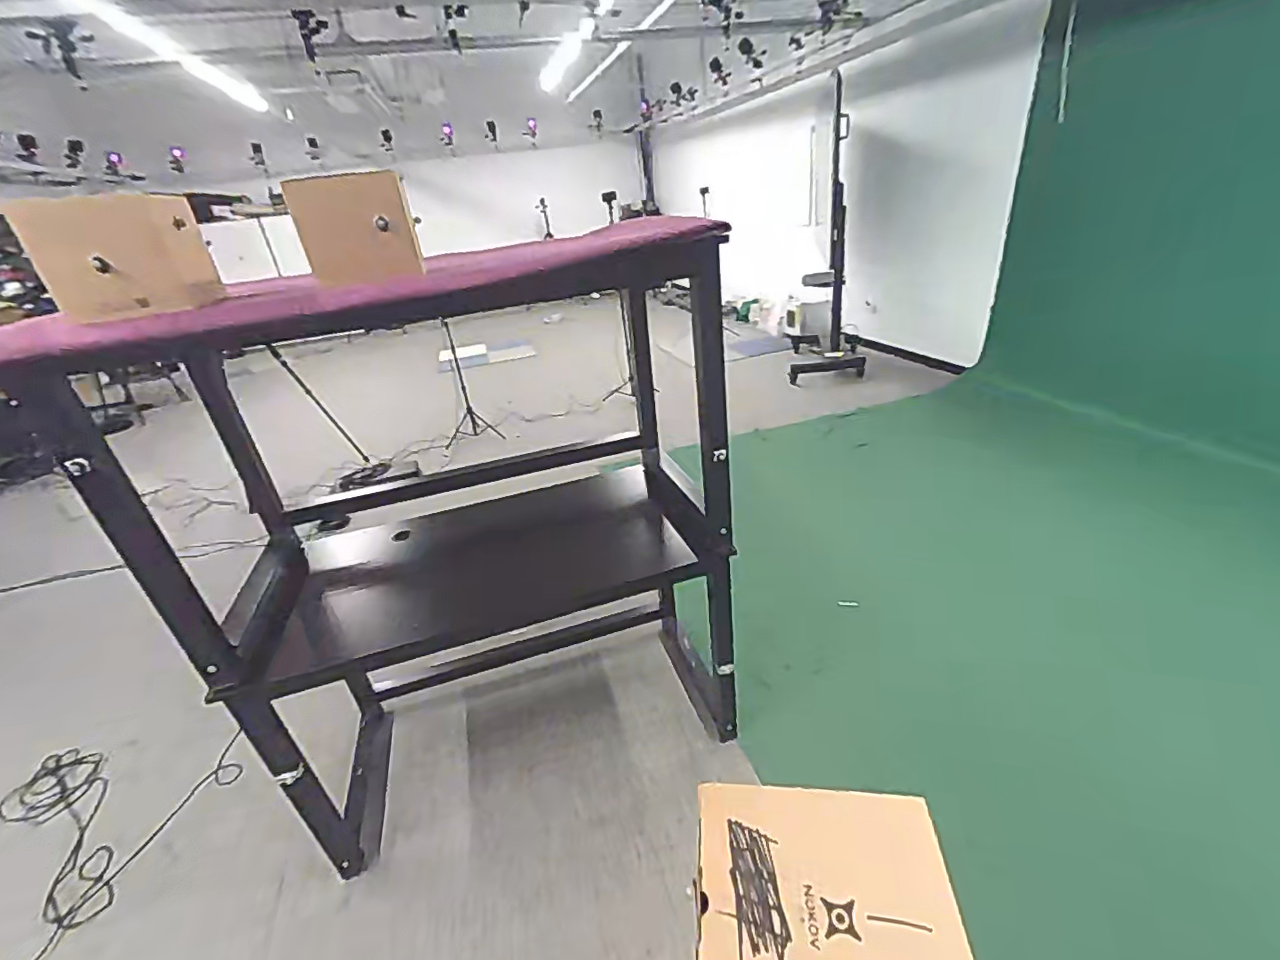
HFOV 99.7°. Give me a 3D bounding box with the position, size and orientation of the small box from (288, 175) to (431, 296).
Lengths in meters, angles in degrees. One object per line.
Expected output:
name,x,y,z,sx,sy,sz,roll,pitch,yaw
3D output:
small box,-0.487,-0.439,0.973,0.179,0.176,0.168,-15,27,-13

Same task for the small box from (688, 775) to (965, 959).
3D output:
small box,0.128,0.356,0.415,0.179,0.176,0.168,1,35,7

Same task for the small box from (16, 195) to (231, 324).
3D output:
small box,-0.802,-0.353,0.869,0.168,0.176,0.179,-13,28,-15
